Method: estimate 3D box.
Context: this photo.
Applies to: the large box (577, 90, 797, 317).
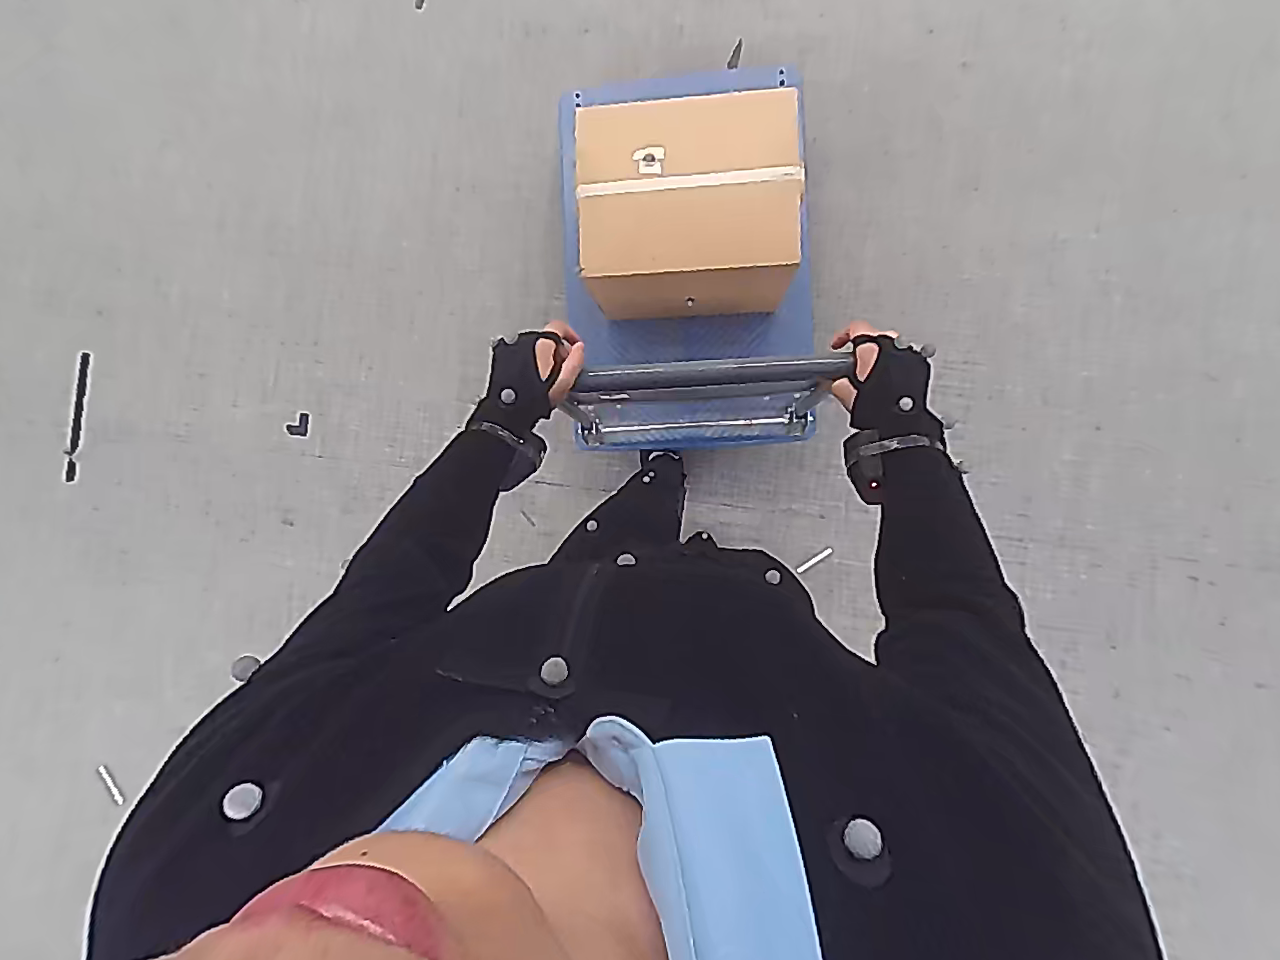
[{"bbox_3d":[0.102,-0.551,1.152,0.408,0.320,0.320,-2,91,7],"label":"large box"}]
